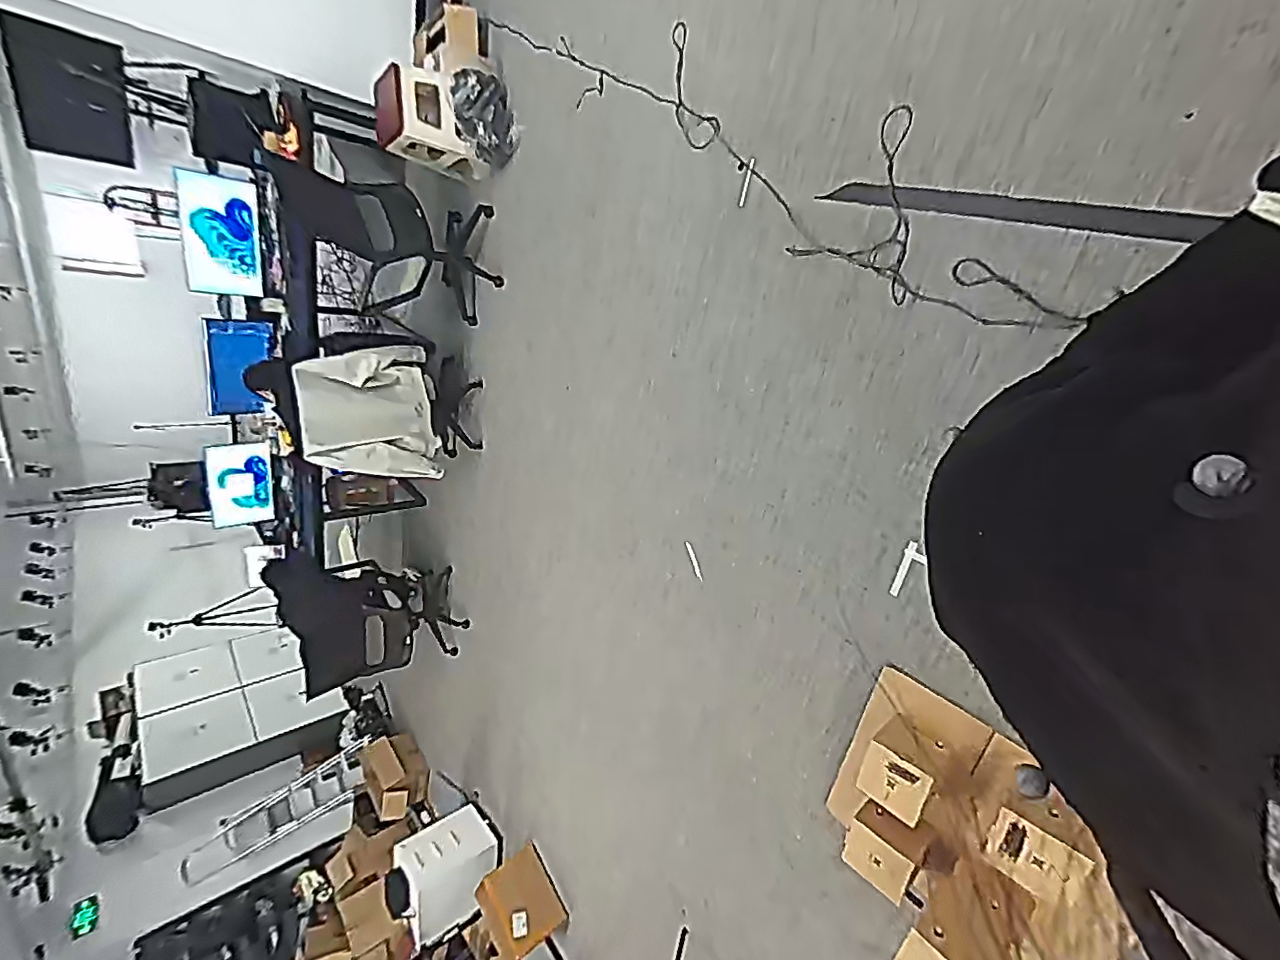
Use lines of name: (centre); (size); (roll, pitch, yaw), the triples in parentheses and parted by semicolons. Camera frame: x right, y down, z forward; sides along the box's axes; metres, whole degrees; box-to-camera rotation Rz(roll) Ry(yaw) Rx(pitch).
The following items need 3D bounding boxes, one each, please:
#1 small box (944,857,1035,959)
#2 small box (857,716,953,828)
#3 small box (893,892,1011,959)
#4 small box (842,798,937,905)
small box: (0.877, 1.127, 1.385); (0.179, 0.176, 0.168); (24, 114, 41)
small box: (0.730, 0.790, 1.482); (0.168, 0.176, 0.179); (26, 116, 42)
small box: (0.741, 1.138, 1.289); (0.179, 0.176, 0.168); (29, 119, 40)
small box: (0.715, 1.042, 1.549); (0.179, 0.176, 0.168); (24, 115, 41)
